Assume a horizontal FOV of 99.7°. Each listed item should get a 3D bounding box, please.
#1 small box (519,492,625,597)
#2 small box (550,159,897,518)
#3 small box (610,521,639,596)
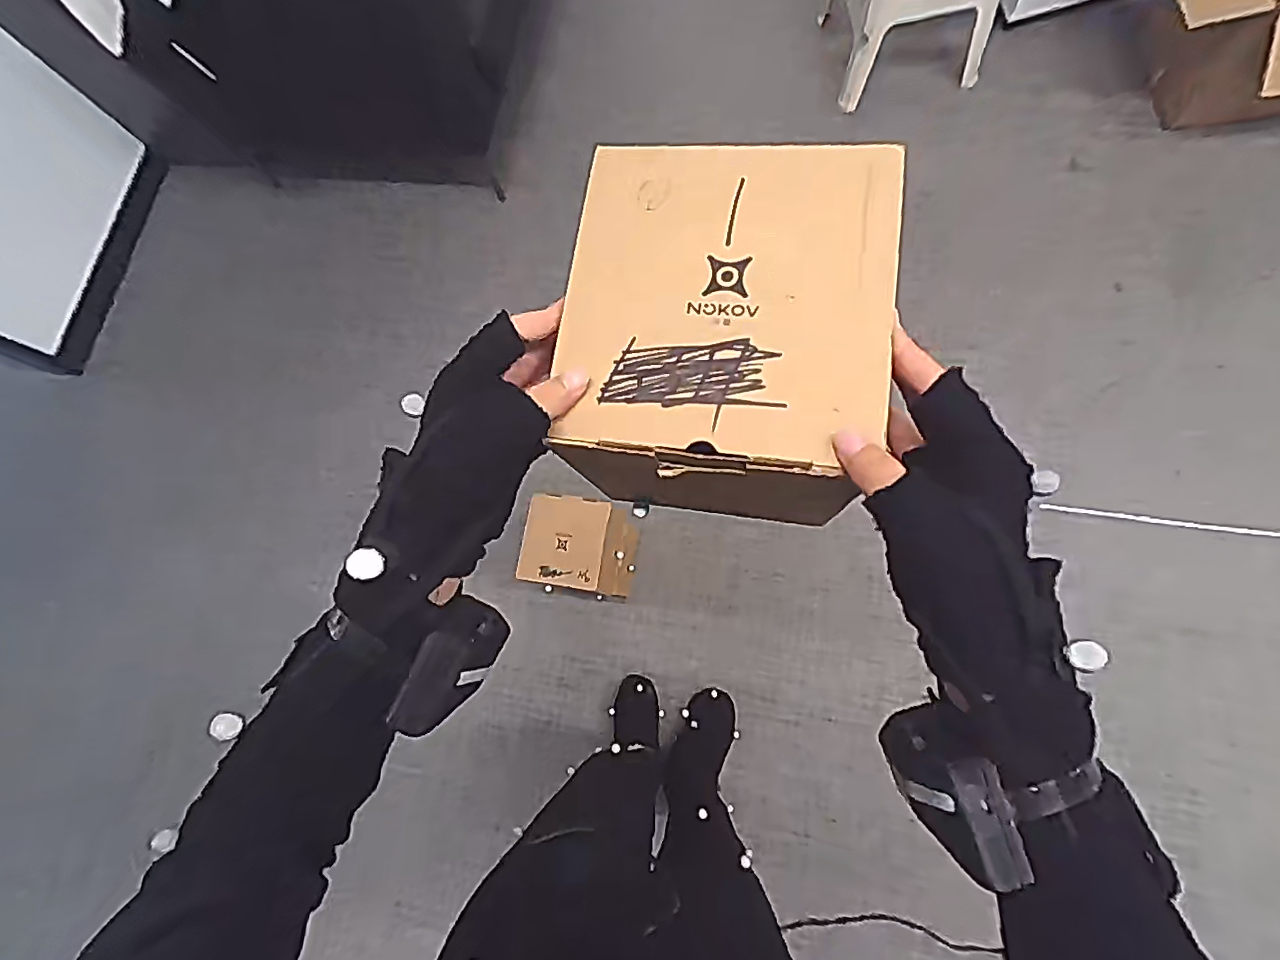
[{"bbox_3d":[-0.132,0.140,1.132,0.168,0.176,0.179,8,76,10],"label":"small box"},{"bbox_3d":[0.058,-0.078,0.363,0.168,0.176,0.179,7,77,11],"label":"small box"},{"bbox_3d":[-0.110,0.182,1.290,0.179,0.176,0.168,8,77,10],"label":"small box"}]
